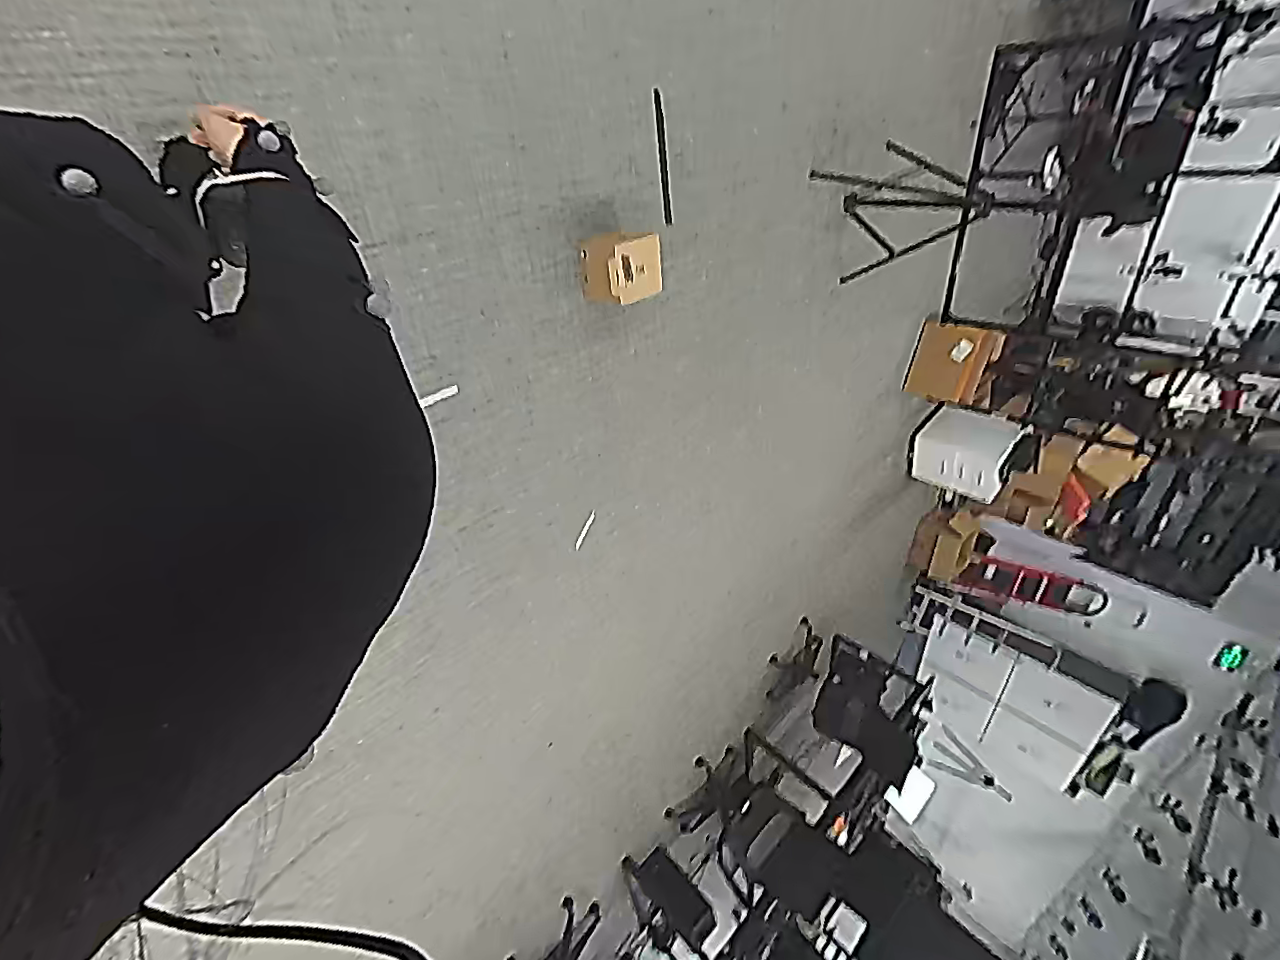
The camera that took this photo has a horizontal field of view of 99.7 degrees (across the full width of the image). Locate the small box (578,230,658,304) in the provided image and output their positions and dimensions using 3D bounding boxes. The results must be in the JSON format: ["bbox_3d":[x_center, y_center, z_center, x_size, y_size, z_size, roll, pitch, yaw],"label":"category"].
[{"bbox_3d":[-0.069,-0.631,1.593,0.179,0.176,0.168,-31,131,-32],"label":"small box"}]
